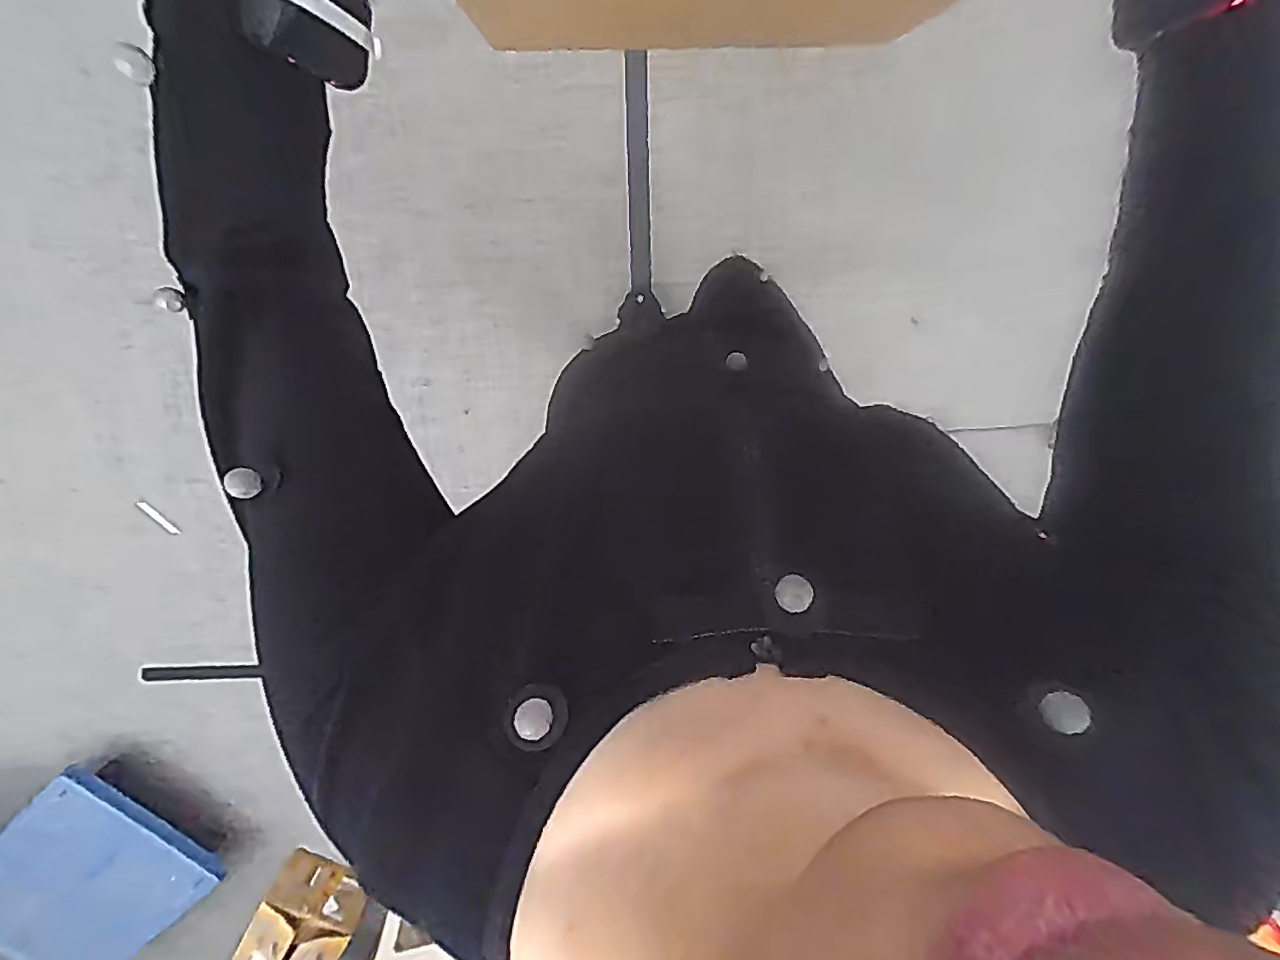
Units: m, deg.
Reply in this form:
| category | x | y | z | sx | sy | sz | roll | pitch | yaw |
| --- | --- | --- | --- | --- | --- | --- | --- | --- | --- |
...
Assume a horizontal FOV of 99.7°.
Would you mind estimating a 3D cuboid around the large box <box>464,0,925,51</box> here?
| category | x | y | z | sx | sy | sz | roll | pitch | yaw |
| --- | --- | --- | --- | --- | --- | --- | --- | --- | --- |
| large box | 0.051 | -0.512 | 0.345 | 0.408 | 0.320 | 0.320 | -3 | 117 | -2 |
